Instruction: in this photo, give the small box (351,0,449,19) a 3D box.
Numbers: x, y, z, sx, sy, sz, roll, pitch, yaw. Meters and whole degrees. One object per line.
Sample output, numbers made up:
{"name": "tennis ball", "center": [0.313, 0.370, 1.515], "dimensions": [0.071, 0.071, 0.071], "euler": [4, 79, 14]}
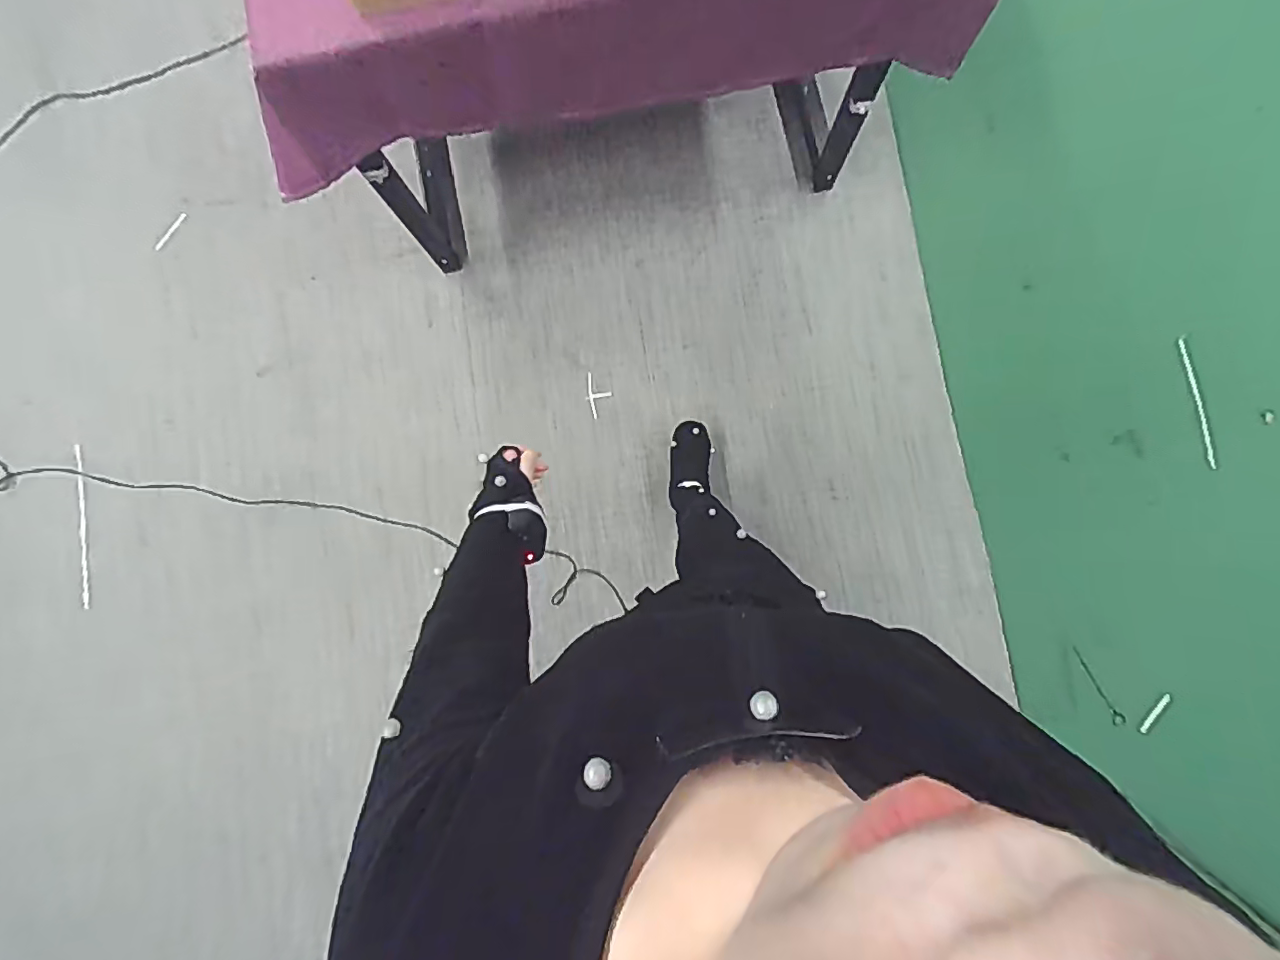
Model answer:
{"name": "small box", "center": [-0.389, -0.857, 0.818], "dimensions": [0.179, 0.176, 0.168], "euler": [-9, 82, 2]}
